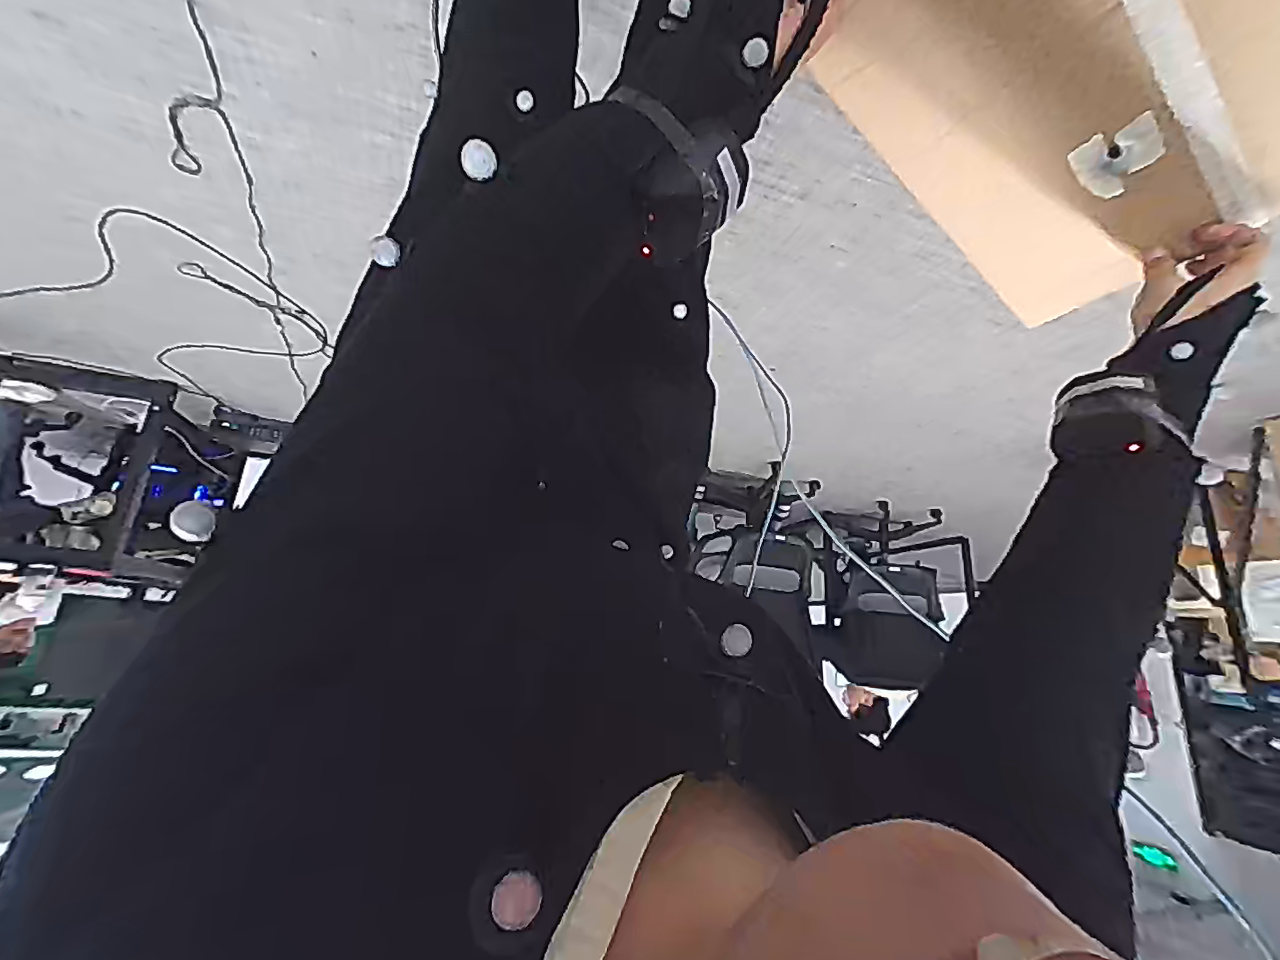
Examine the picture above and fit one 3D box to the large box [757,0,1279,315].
[{"bbox_3d":[0.339,-0.415,0.410,0.408,0.320,0.320,25,149,-29],"label":"large box"}]
